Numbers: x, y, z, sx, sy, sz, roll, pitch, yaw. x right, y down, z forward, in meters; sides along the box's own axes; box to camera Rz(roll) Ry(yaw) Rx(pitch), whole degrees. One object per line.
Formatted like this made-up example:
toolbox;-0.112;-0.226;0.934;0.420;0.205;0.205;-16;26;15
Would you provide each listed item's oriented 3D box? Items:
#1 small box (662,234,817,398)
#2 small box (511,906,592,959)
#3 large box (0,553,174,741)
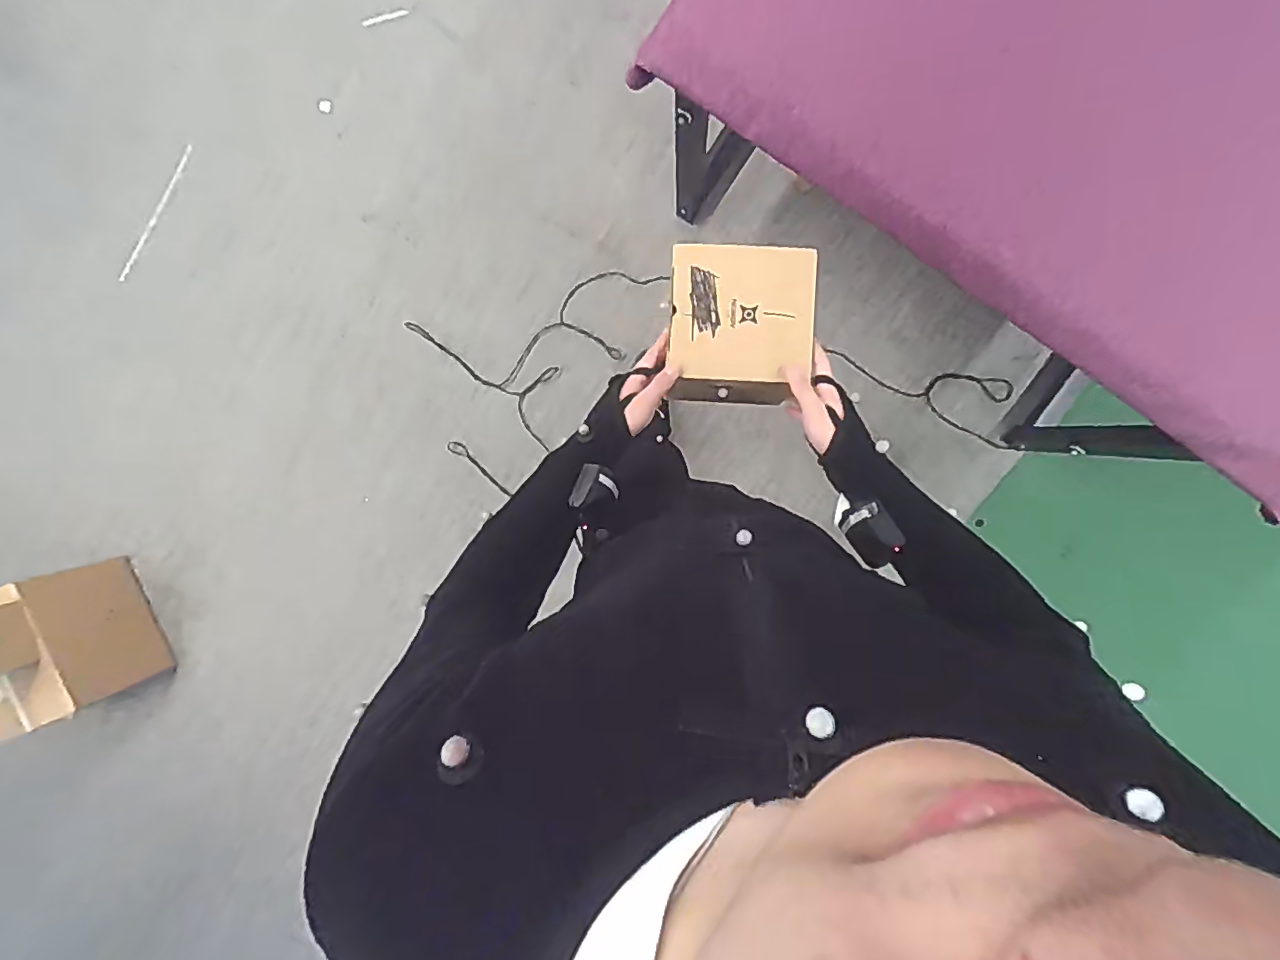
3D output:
small box;0.121;-0.206;0.722;0.179;0.176;0.168;4;90;1
small box;-0.225;1.227;1.367;0.179;0.176;0.168;5;96;3
large box;-1.765;0.489;1.647;0.320;0.320;0.408;-22;95;7
